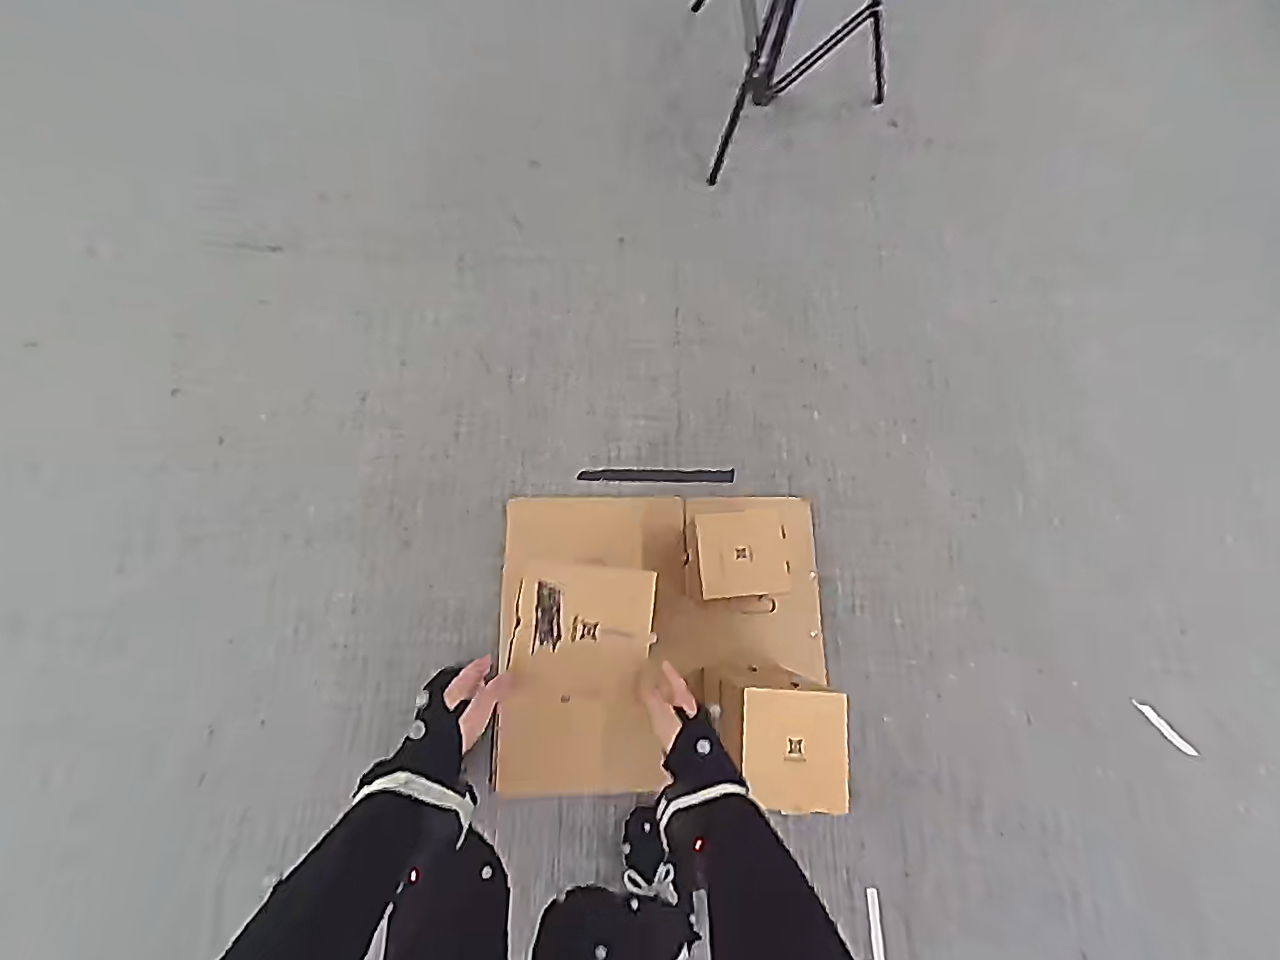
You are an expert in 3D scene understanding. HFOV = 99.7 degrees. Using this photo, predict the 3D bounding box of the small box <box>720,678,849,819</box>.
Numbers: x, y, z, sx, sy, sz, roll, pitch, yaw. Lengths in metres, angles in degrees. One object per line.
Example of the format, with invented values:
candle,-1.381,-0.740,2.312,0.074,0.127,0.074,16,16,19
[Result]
small box,0.231,0.432,0.897,0.168,0.176,0.179,4,78,-3

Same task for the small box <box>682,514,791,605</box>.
small box,0.193,0.169,1.127,0.179,0.176,0.168,-4,76,-5

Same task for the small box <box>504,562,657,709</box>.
small box,-0.076,0.213,0.759,0.179,0.176,0.168,7,76,-2
